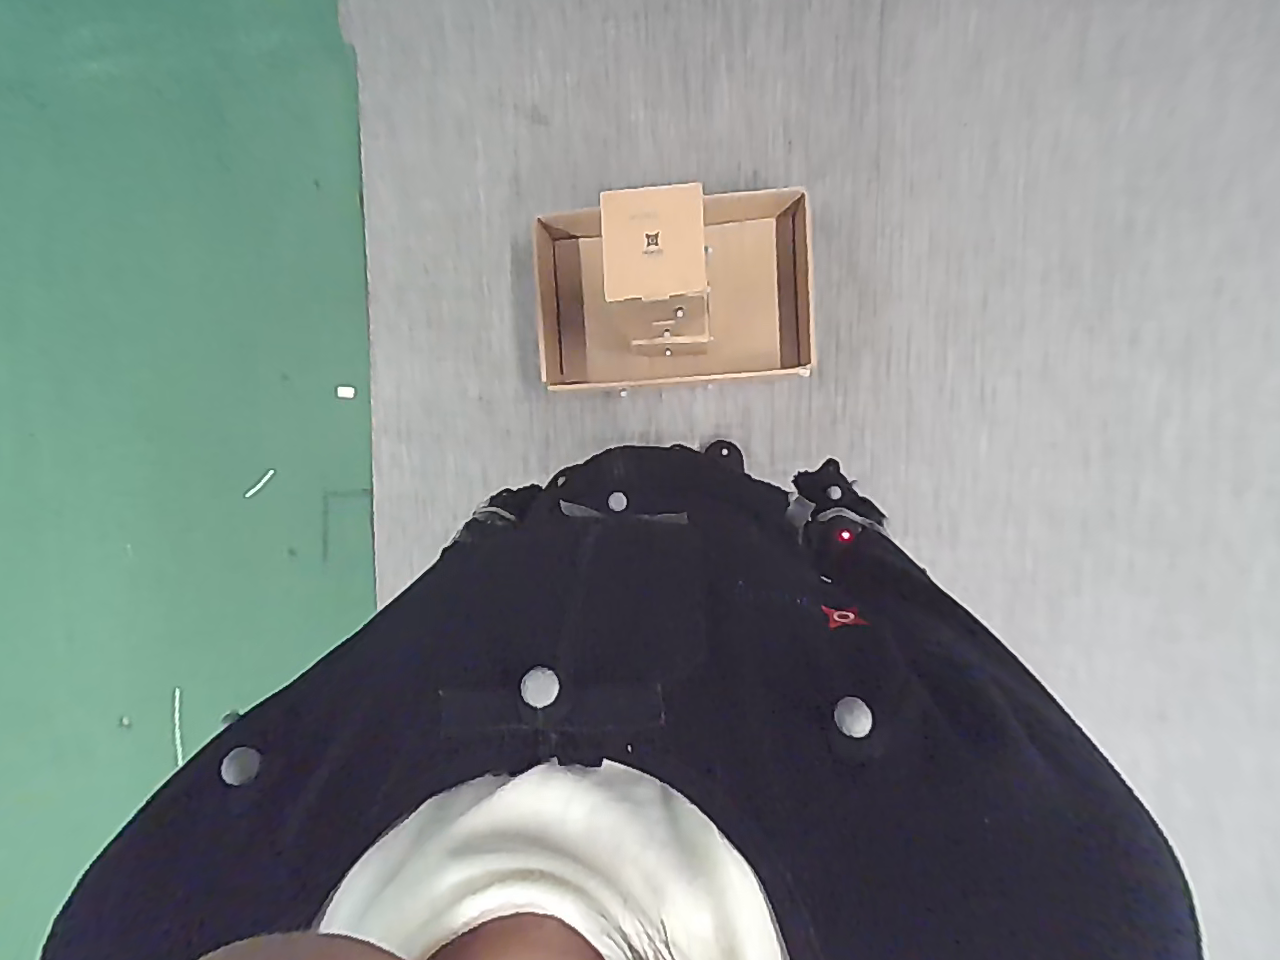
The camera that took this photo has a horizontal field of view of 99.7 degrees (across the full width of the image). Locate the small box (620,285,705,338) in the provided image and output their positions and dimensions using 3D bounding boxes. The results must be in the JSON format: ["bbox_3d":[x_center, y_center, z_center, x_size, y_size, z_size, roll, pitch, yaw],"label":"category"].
[{"bbox_3d":[0.047,-0.400,1.129,0.168,0.176,0.179,-5,93,8],"label":"small box"}]

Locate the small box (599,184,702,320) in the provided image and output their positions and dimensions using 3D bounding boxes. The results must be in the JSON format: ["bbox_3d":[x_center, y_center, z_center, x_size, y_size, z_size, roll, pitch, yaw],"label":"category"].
[{"bbox_3d":[0.025,-0.386,0.949,0.168,0.176,0.179,-2,92,6],"label":"small box"}]

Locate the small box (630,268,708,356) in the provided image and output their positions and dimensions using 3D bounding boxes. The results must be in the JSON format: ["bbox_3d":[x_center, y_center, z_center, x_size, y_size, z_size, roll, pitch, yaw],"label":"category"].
[{"bbox_3d":[0.073,-0.394,1.287,0.179,0.176,0.168,0,93,8],"label":"small box"}]
